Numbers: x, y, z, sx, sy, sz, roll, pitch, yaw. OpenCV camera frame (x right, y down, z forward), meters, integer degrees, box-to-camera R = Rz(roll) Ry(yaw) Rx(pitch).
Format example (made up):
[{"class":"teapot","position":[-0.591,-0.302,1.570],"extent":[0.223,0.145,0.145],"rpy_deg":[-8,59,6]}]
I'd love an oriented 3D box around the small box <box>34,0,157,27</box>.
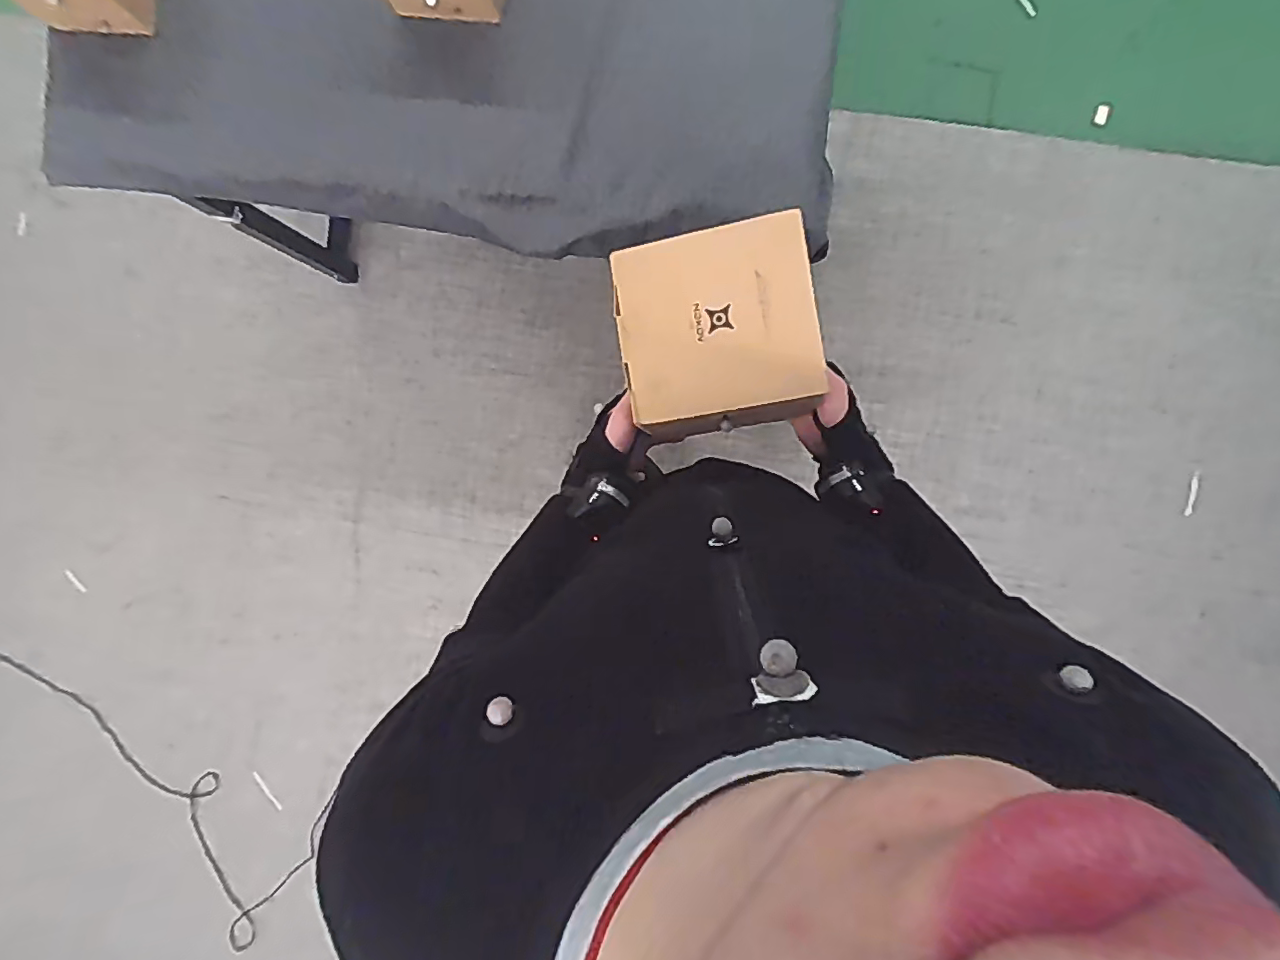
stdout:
[{"class":"small box","position":[-0.829,-0.789,0.762],"extent":[0.168,0.176,0.179],"rpy_deg":[5,94,2]}]

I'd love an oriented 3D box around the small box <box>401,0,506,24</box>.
[{"class":"small box","position":[-0.278,-0.780,0.733],"extent":[0.168,0.176,0.179],"rpy_deg":[7,95,3]}]

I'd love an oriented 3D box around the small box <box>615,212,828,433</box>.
[{"class":"small box","position":[0.086,-0.147,0.574],"extent":[0.179,0.176,0.168],"rpy_deg":[-9,89,9]}]
